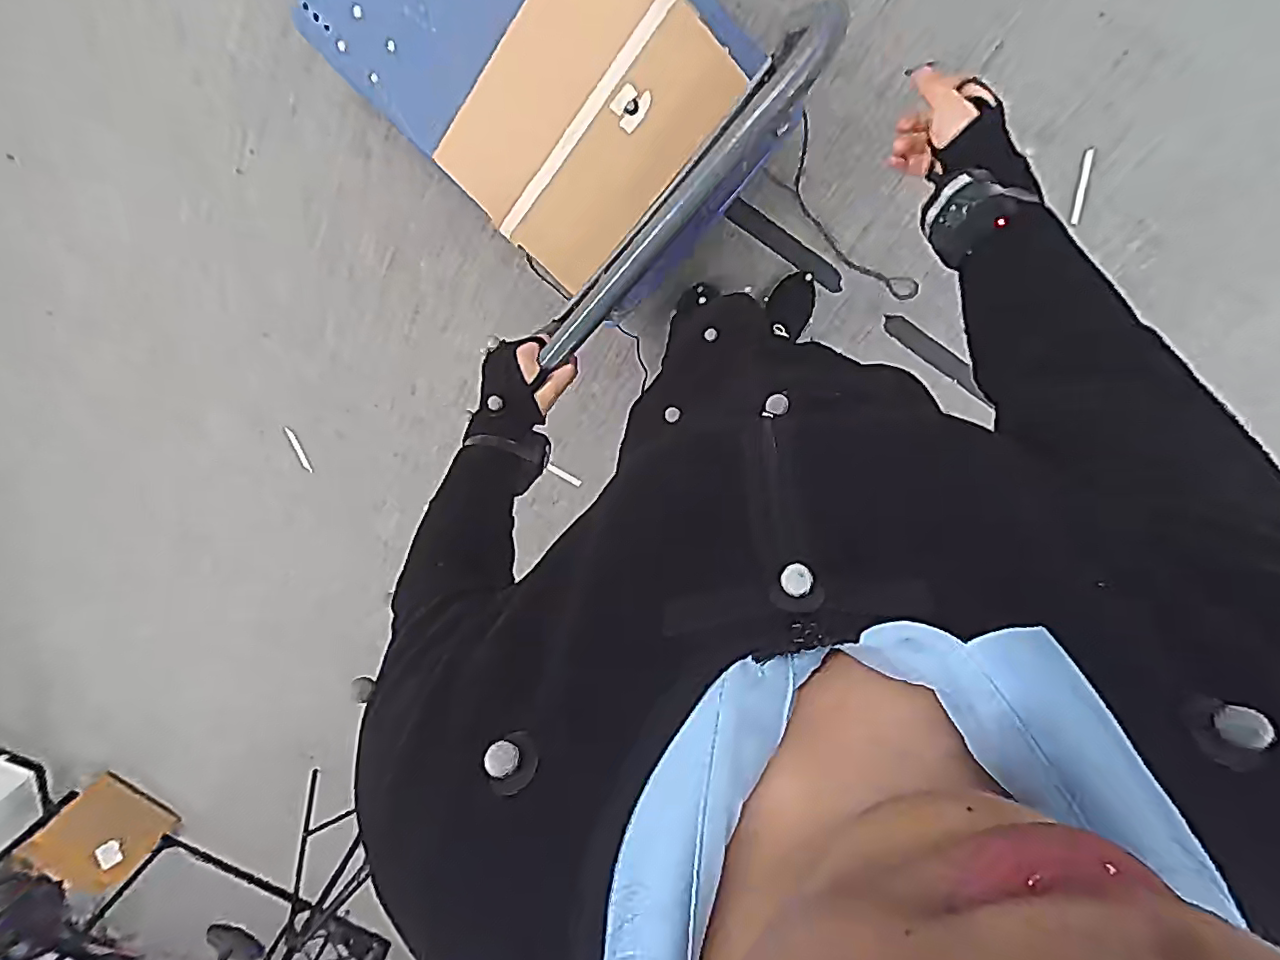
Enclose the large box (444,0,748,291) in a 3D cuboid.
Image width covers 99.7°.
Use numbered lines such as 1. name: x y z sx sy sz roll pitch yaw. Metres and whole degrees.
1. large box: -0.060 -0.606 0.957 0.320 0.320 0.408 42 115 -11
